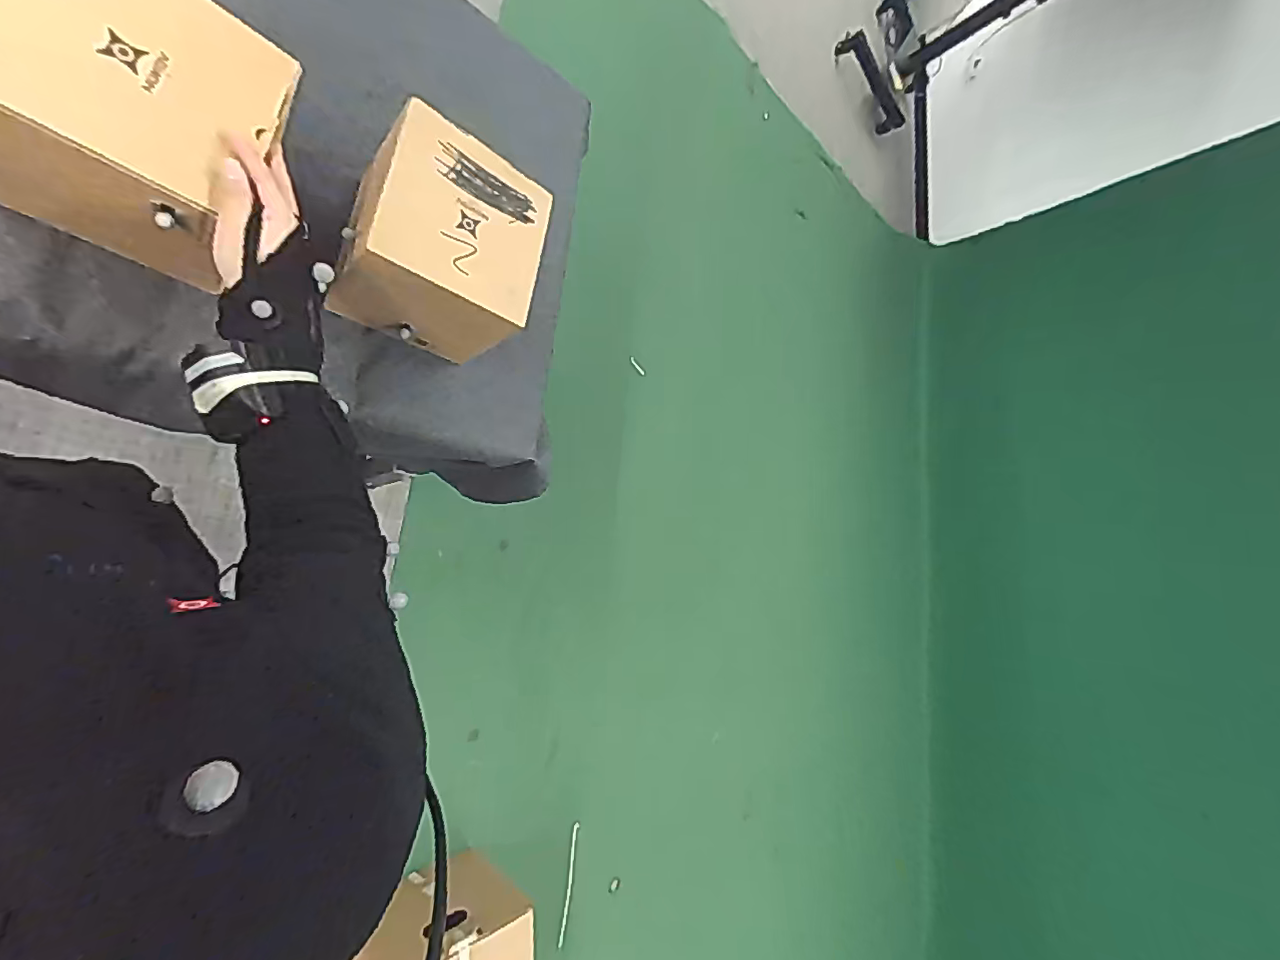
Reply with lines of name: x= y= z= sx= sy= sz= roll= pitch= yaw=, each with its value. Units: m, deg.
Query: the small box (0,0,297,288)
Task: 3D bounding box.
small box: x=-0.419 y=-0.287 z=0.441 sx=0.179 sy=0.176 sz=0.168 roll=22 pitch=70 yaw=-40
